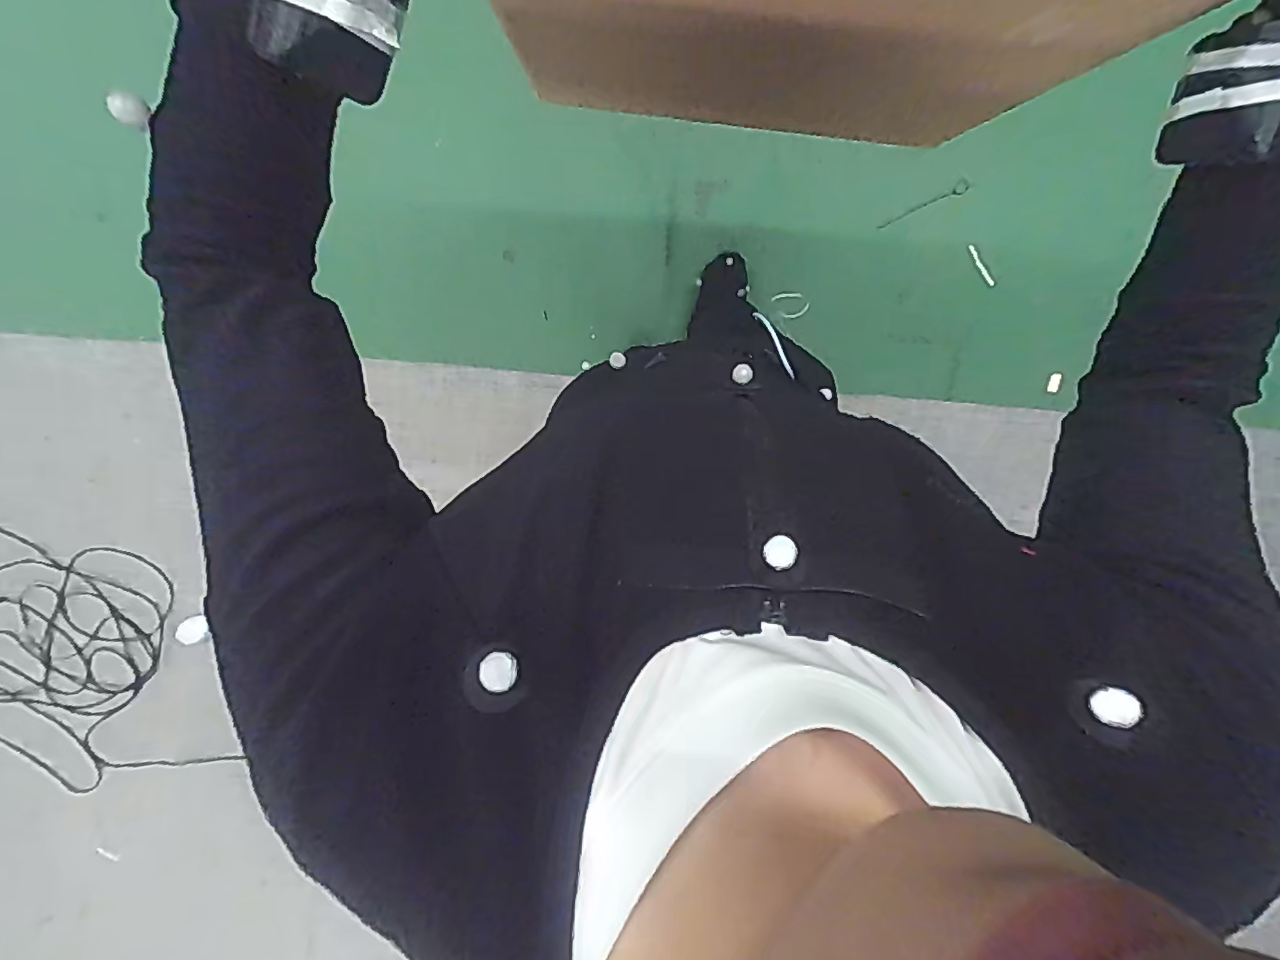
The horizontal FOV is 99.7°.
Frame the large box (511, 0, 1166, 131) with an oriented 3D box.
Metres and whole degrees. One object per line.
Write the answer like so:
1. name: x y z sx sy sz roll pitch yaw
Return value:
1. large box: 0.117 -0.460 0.353 0.408 0.320 0.320 4 109 -3
